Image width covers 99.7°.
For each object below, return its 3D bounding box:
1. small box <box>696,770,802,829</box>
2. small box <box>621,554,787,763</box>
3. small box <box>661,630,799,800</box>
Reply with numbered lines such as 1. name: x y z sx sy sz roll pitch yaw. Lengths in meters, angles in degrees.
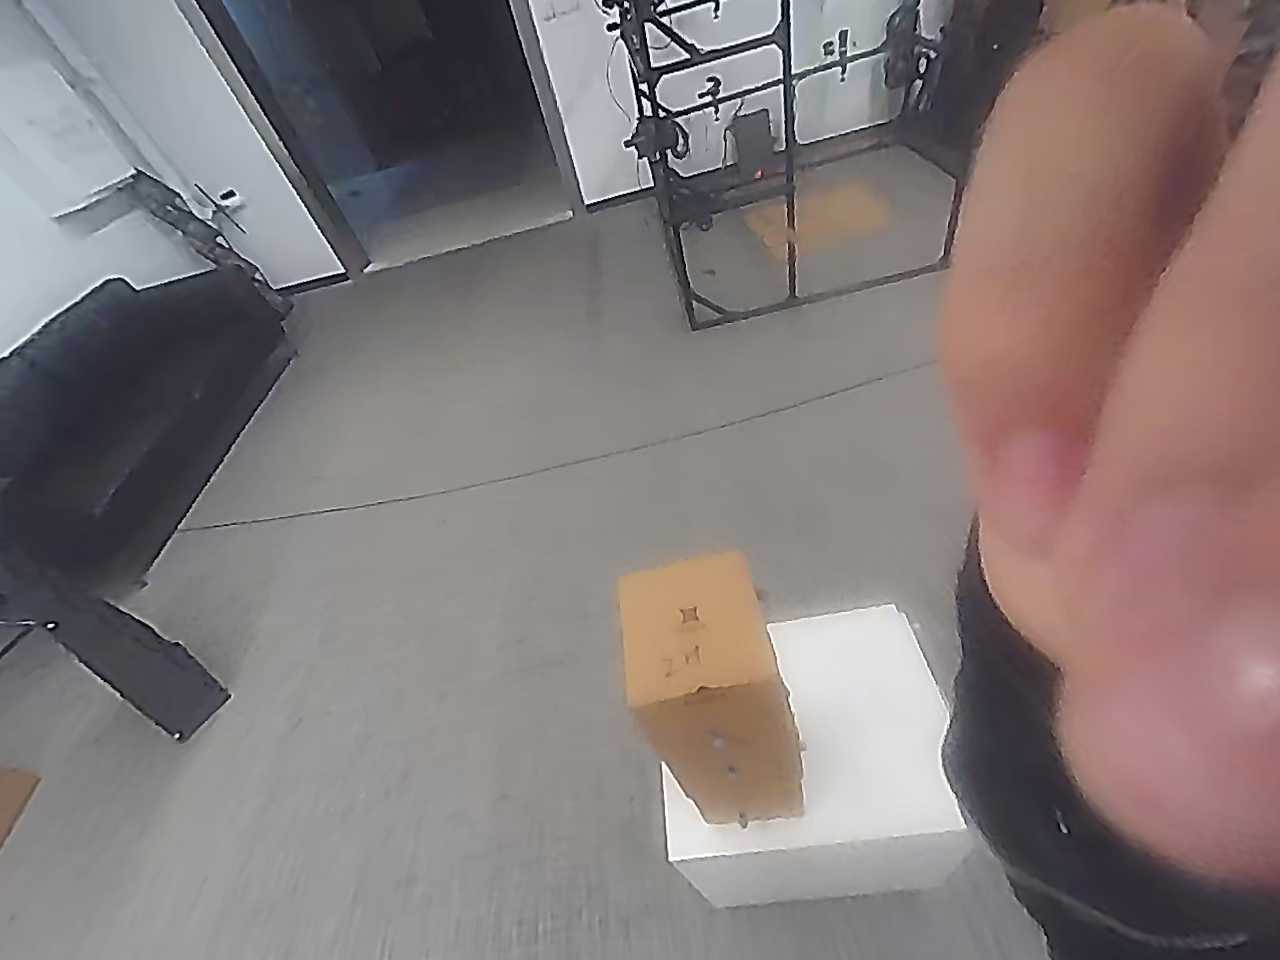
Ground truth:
1. small box: 0.168 0.454 0.899 0.168 0.176 0.179 -11 44 8
2. small box: 0.078 0.225 0.680 0.168 0.176 0.179 -14 42 6
3. small box: 0.124 0.342 0.787 0.179 0.176 0.168 -15 42 6
